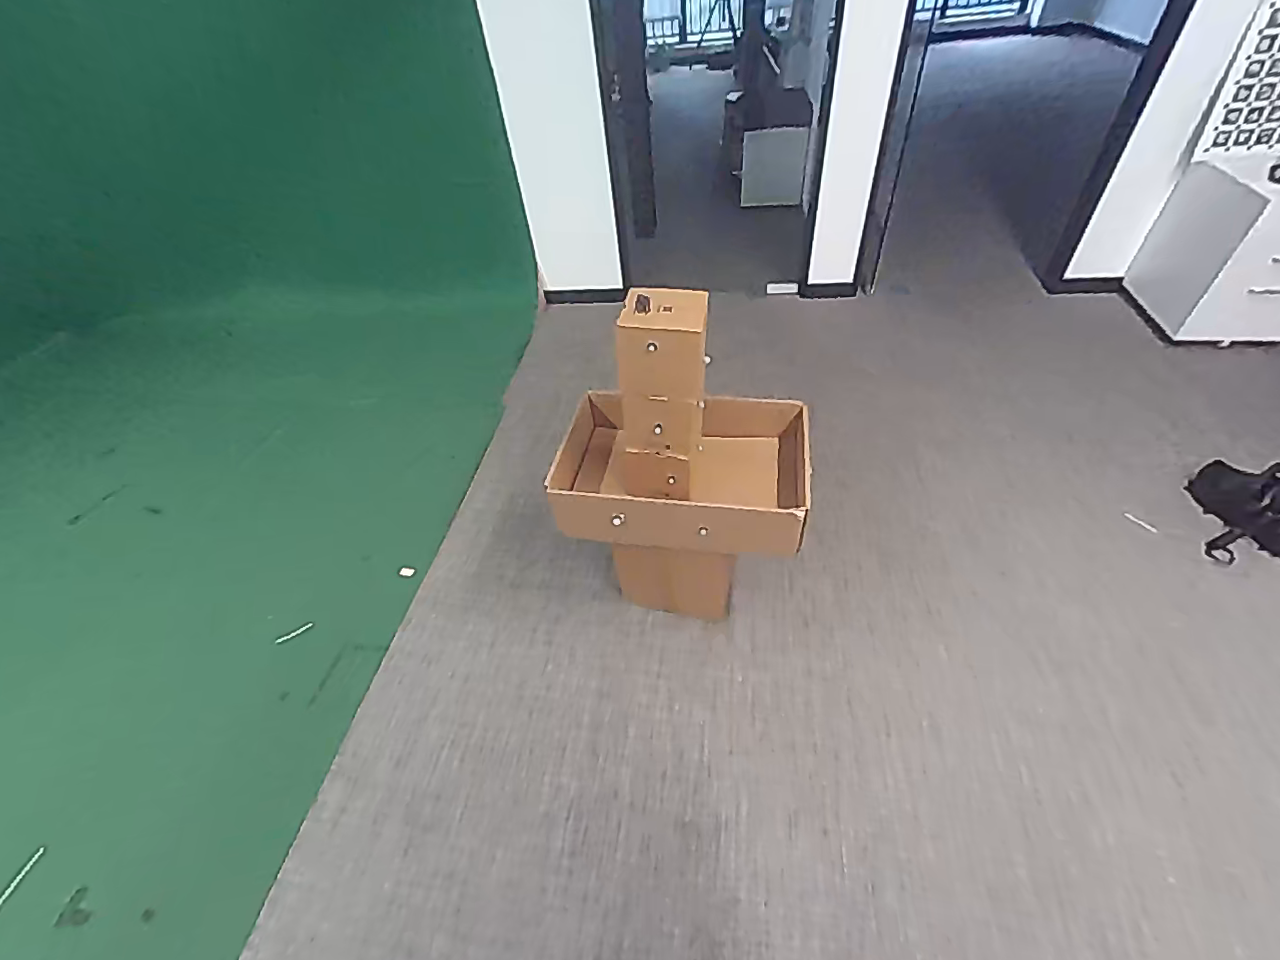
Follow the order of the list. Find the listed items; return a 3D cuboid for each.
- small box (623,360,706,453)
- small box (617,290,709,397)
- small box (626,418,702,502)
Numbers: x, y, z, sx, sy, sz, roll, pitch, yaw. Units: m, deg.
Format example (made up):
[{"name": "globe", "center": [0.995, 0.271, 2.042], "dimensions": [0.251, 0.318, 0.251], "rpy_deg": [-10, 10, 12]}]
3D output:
[{"name": "small box", "center": [0.064, -0.185, 1.307], "dimensions": [0.168, 0.176, 0.179], "rpy_deg": [8, 48, 10]}, {"name": "small box", "center": [0.054, -0.298, 1.187], "dimensions": [0.179, 0.176, 0.168], "rpy_deg": [6, 47, 8]}, {"name": "small box", "center": [0.068, -0.064, 1.418], "dimensions": [0.168, 0.176, 0.179], "rpy_deg": [8, 45, 10]}]
